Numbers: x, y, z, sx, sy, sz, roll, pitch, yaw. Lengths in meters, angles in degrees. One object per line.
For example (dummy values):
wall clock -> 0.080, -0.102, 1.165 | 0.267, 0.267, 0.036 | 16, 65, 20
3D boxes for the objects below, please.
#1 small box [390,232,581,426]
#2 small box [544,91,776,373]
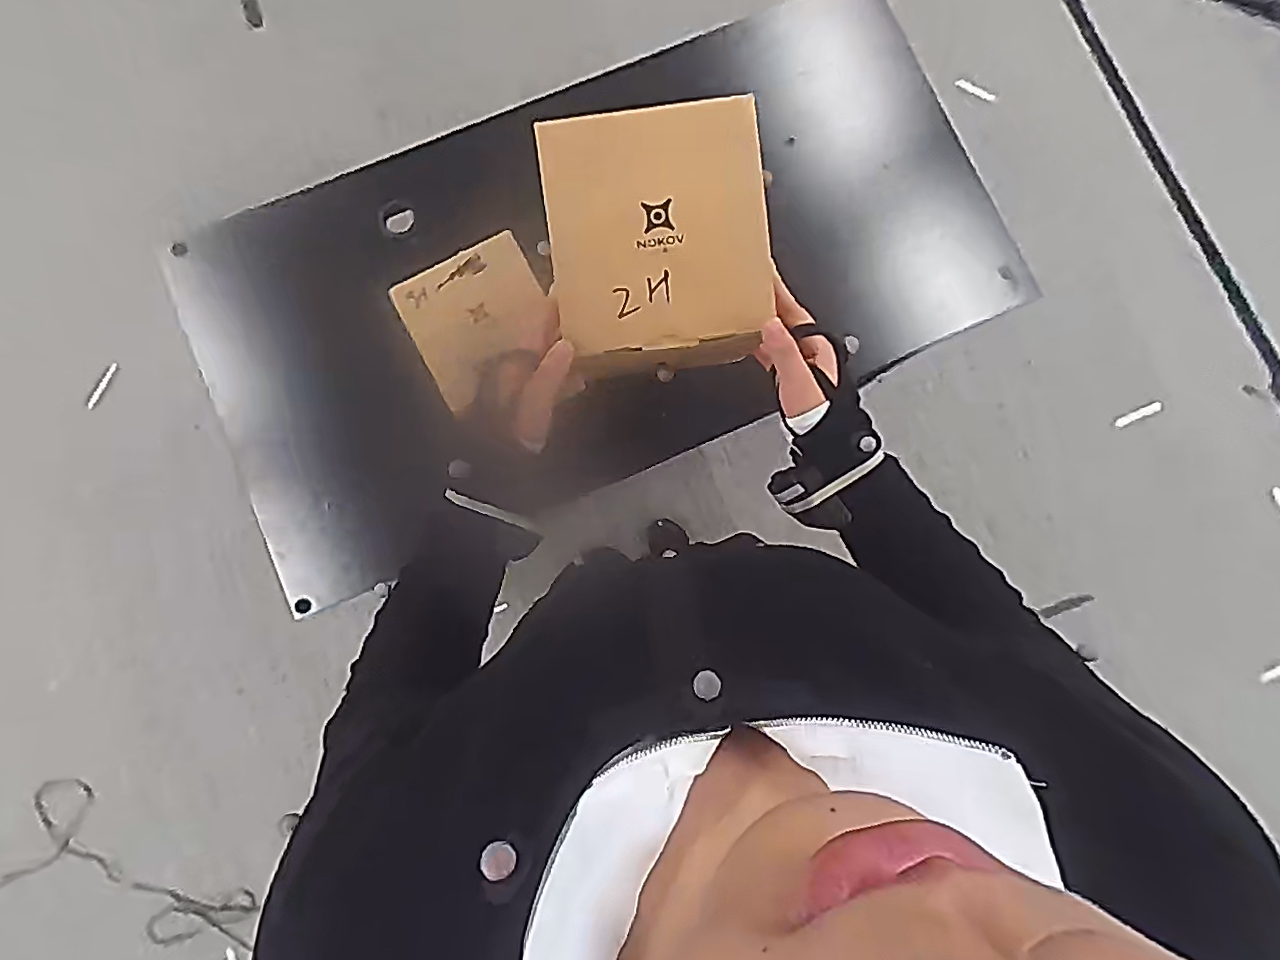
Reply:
small box -> -0.192, -0.185, 0.731 | 0.168, 0.176, 0.179 | -29, 86, -3
small box -> 0.016, -0.202, 0.488 | 0.168, 0.176, 0.179 | -6, 94, 2
